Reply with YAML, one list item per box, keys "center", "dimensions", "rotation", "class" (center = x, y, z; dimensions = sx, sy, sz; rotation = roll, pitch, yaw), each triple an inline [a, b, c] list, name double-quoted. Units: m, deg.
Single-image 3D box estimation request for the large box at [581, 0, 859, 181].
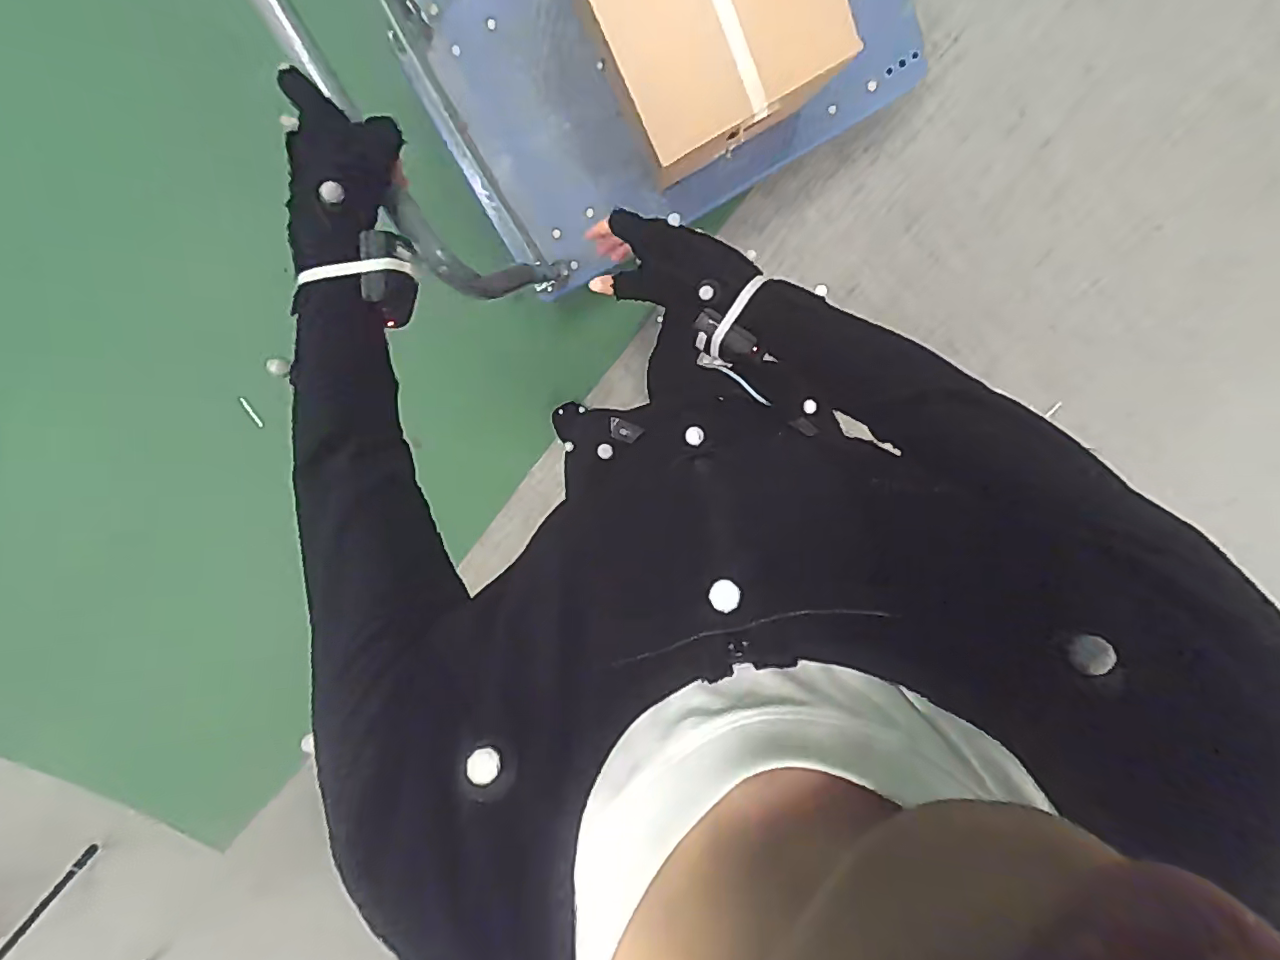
- center: [0.086, -0.768, 0.858]
  dimensions: [0.320, 0.320, 0.408]
  rotation: [-26, 109, 10]
  class: "large box"
